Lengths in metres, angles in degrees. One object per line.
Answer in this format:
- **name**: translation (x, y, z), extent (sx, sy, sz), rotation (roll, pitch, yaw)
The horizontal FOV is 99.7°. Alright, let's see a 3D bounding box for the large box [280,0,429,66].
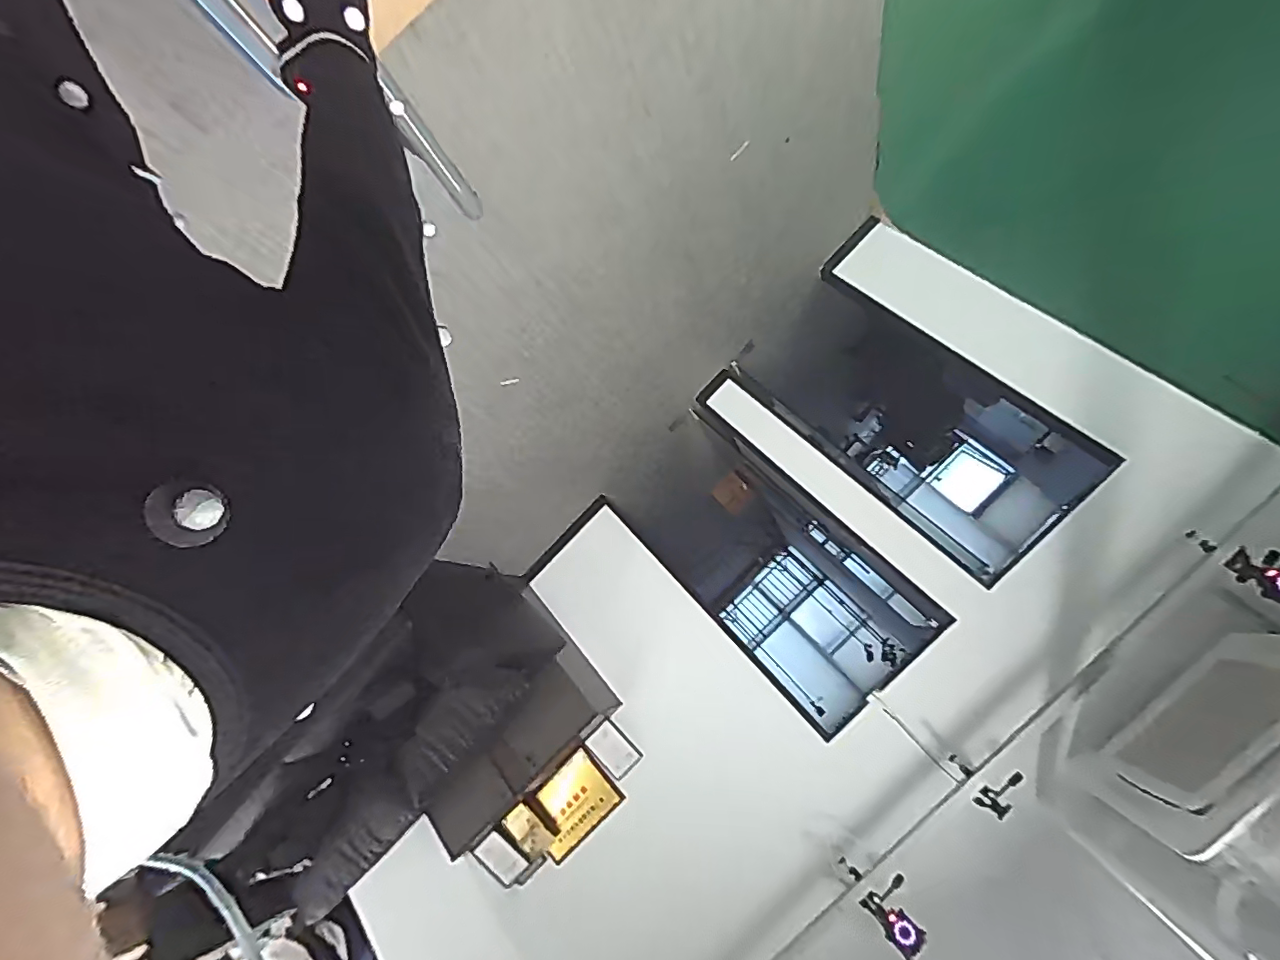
- **large box**: translation (-0.463, -0.954, 0.807), extent (0.408, 0.320, 0.320), rotation (-46, 158, 0)
